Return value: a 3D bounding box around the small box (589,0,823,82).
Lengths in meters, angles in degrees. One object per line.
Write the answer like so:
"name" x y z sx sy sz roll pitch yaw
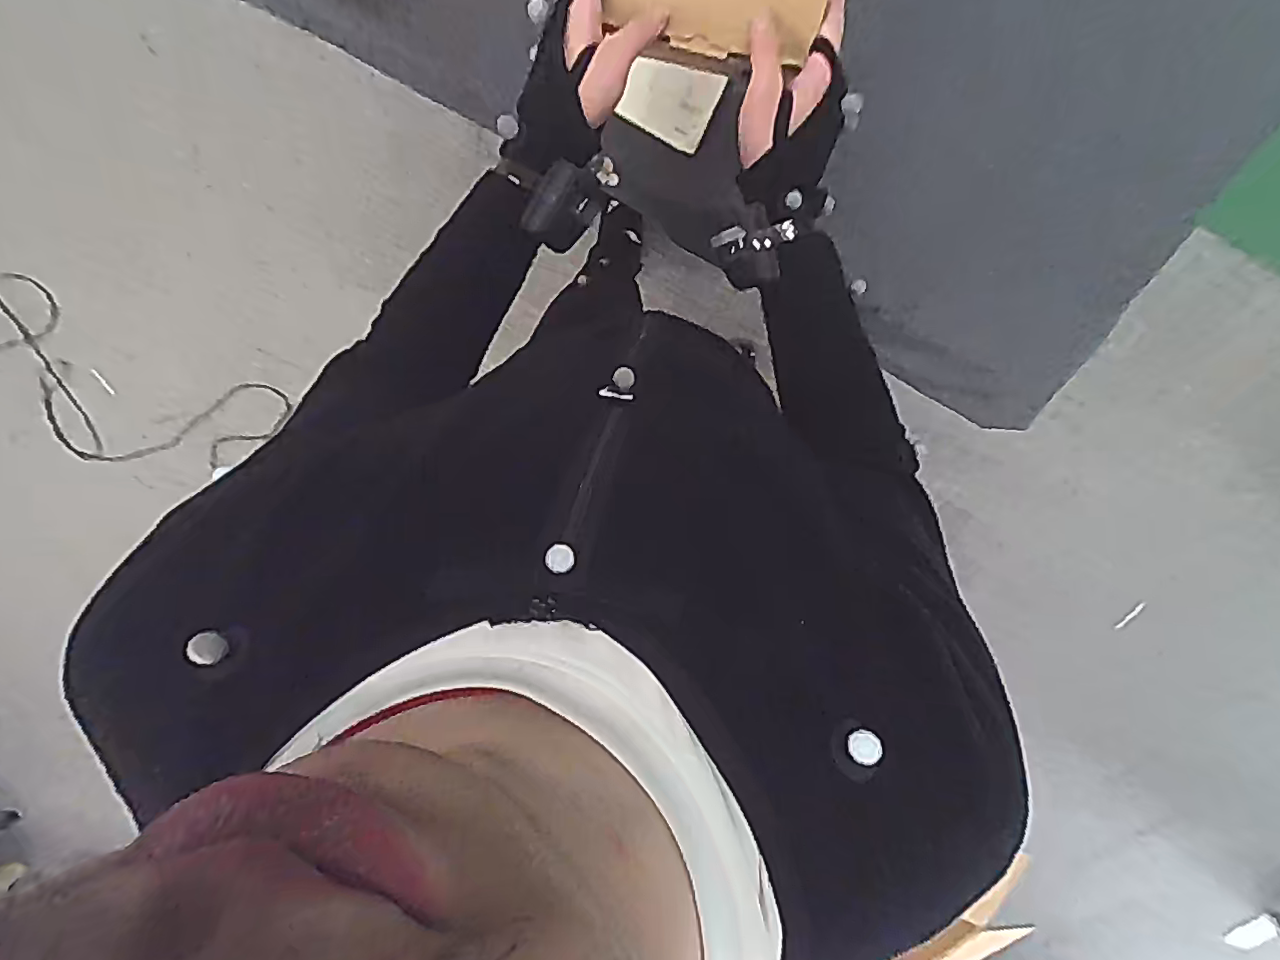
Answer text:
"small box" 0.070 -0.427 0.410 0.168 0.176 0.179 14 122 2
